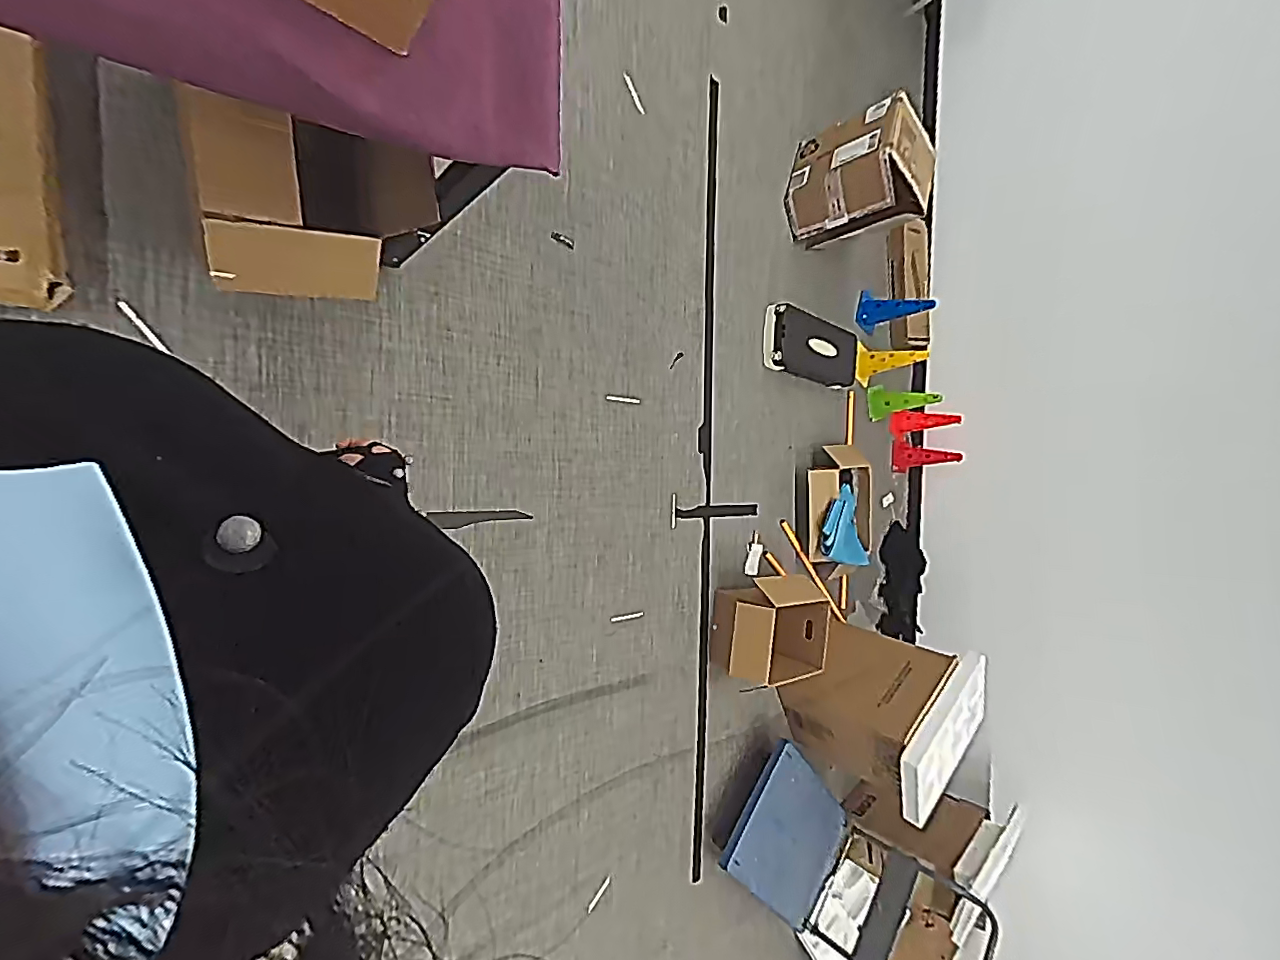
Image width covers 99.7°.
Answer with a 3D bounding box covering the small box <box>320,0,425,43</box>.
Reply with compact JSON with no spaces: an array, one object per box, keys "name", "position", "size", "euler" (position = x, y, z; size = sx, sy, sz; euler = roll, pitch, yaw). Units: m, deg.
[{"name":"small box","position":[-0.331,-0.667,0.623],"size":[0.179,0.176,0.168],"euler":[7,88,-41]}]
